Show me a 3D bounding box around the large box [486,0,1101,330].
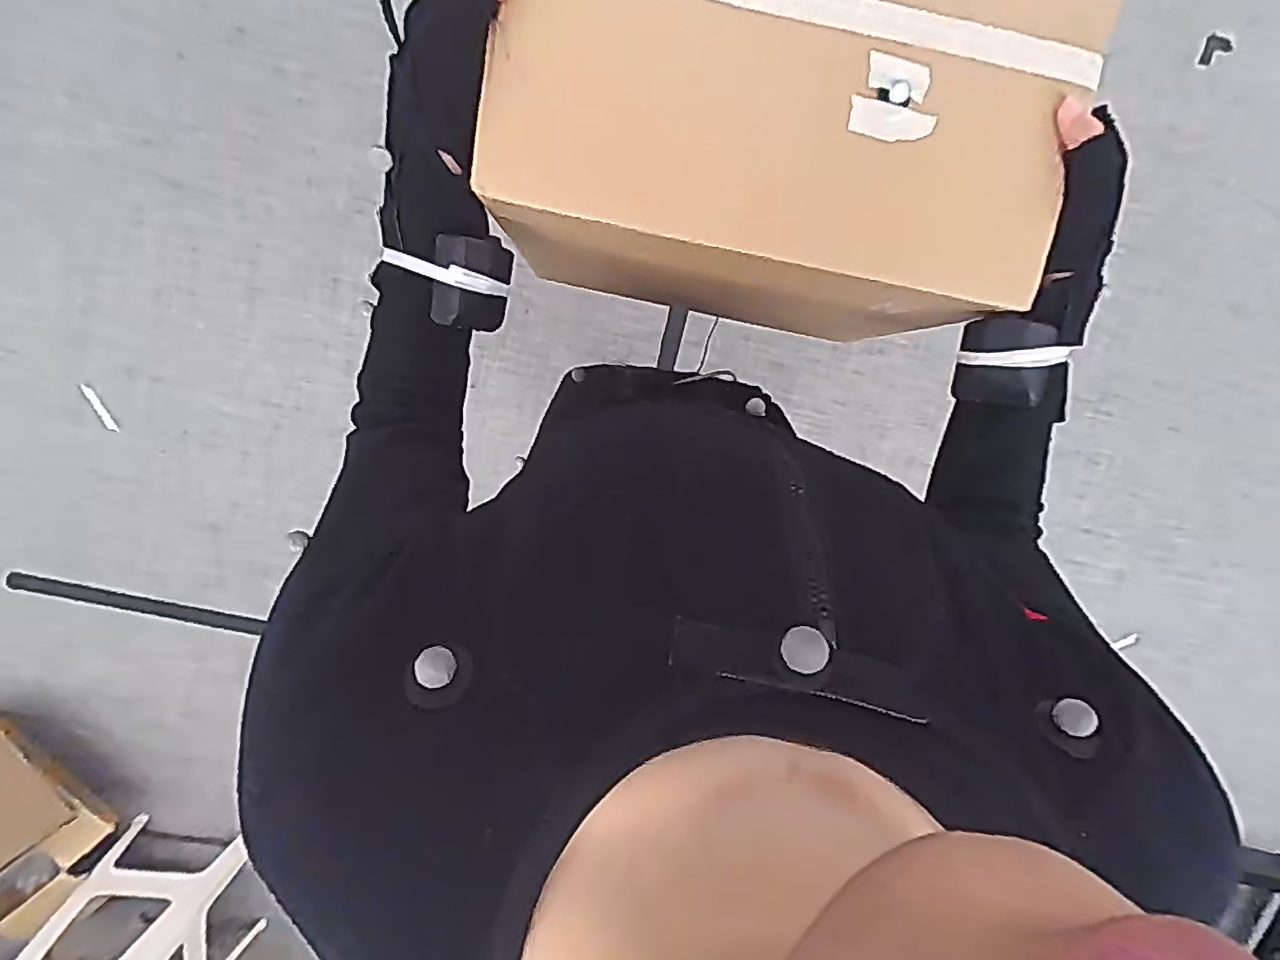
[{"bbox_3d":[0.102,-0.343,0.510,0.408,0.320,0.320,10,101,-5],"label":"large box"}]
